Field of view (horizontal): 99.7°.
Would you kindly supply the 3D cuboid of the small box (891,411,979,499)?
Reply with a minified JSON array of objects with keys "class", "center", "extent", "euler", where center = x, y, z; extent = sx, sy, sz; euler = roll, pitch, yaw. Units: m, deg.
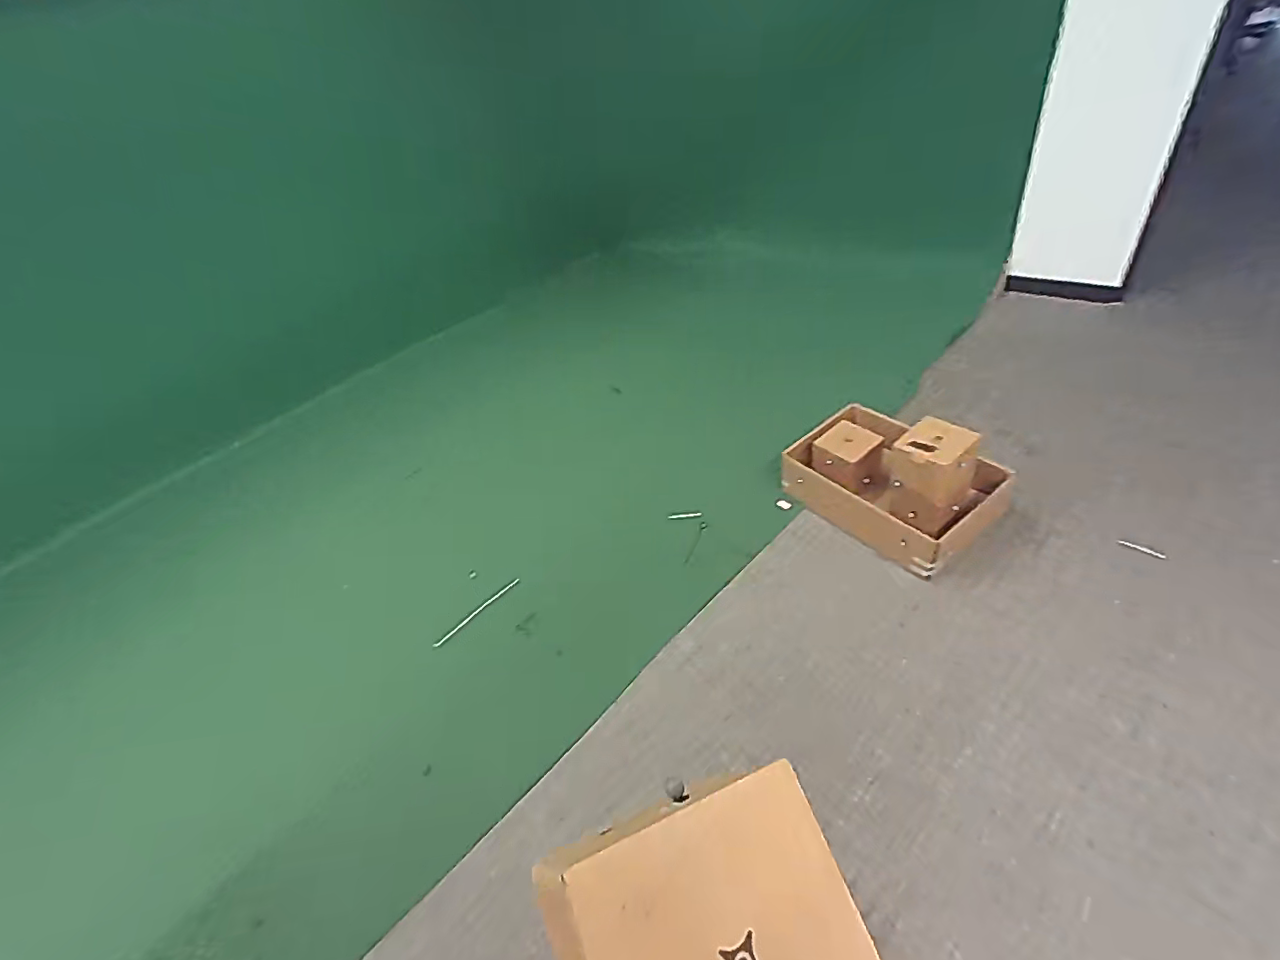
[{"class":"small box","center":[0.878,-0.074,1.620],"extent":[0.179,0.176,0.168],"euler":[-36,43,-19]}]

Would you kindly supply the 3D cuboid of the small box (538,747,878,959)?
[{"class":"small box","center":[0.035,0.313,0.374],"extent":[0.168,0.176,0.179],"euler":[-12,64,-23]}]

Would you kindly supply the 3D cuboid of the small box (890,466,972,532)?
[{"class":"small box","center":[0.927,0.035,1.733],"extent":[0.179,0.176,0.168],"euler":[-38,45,-19]}]
